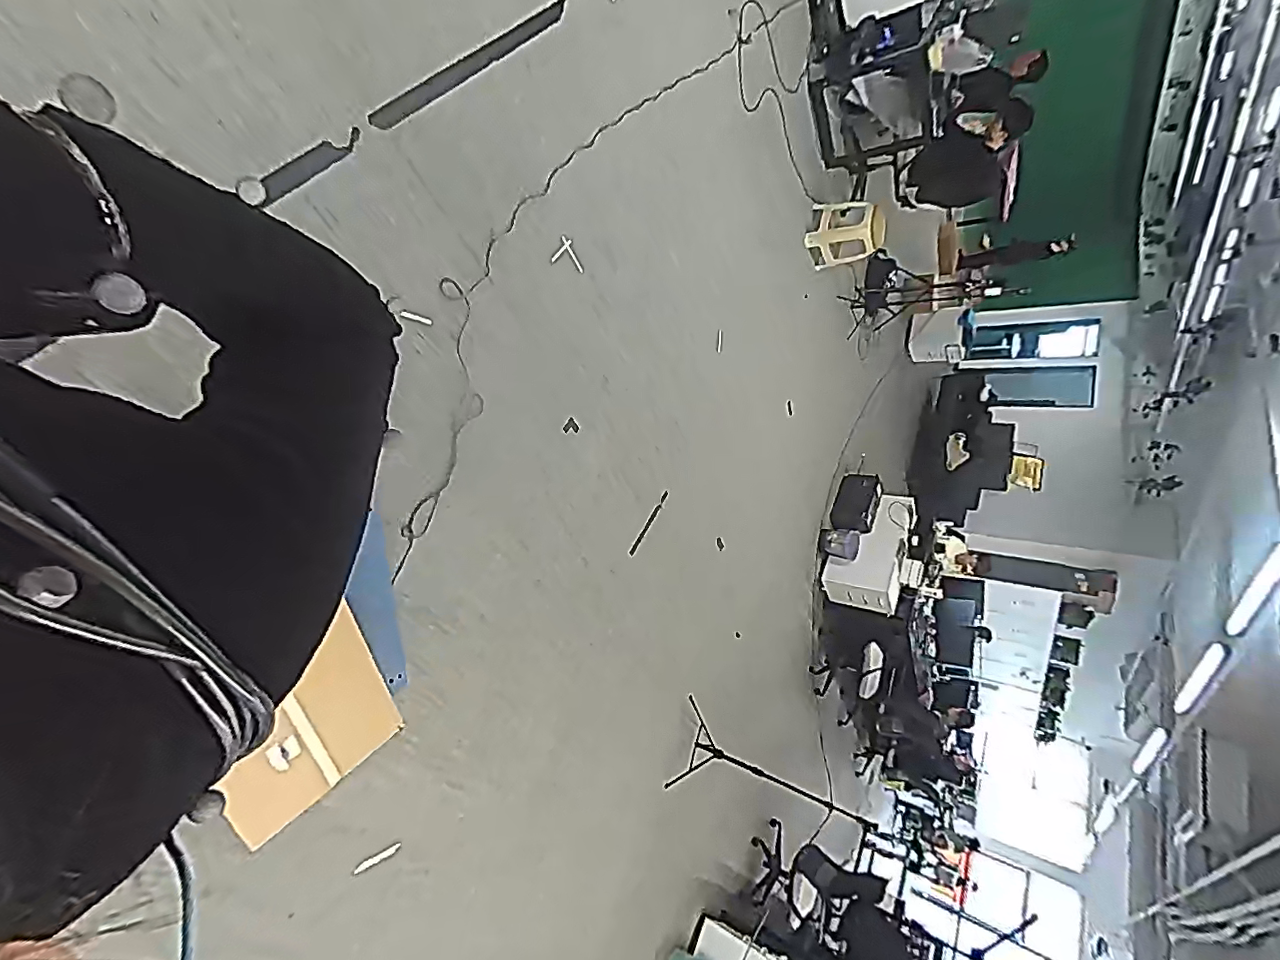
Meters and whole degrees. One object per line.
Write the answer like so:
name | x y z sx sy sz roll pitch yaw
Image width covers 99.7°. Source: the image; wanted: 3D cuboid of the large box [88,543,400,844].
large box | -0.758 0.391 1.069 0.320 0.320 0.408 -35 124 -44
